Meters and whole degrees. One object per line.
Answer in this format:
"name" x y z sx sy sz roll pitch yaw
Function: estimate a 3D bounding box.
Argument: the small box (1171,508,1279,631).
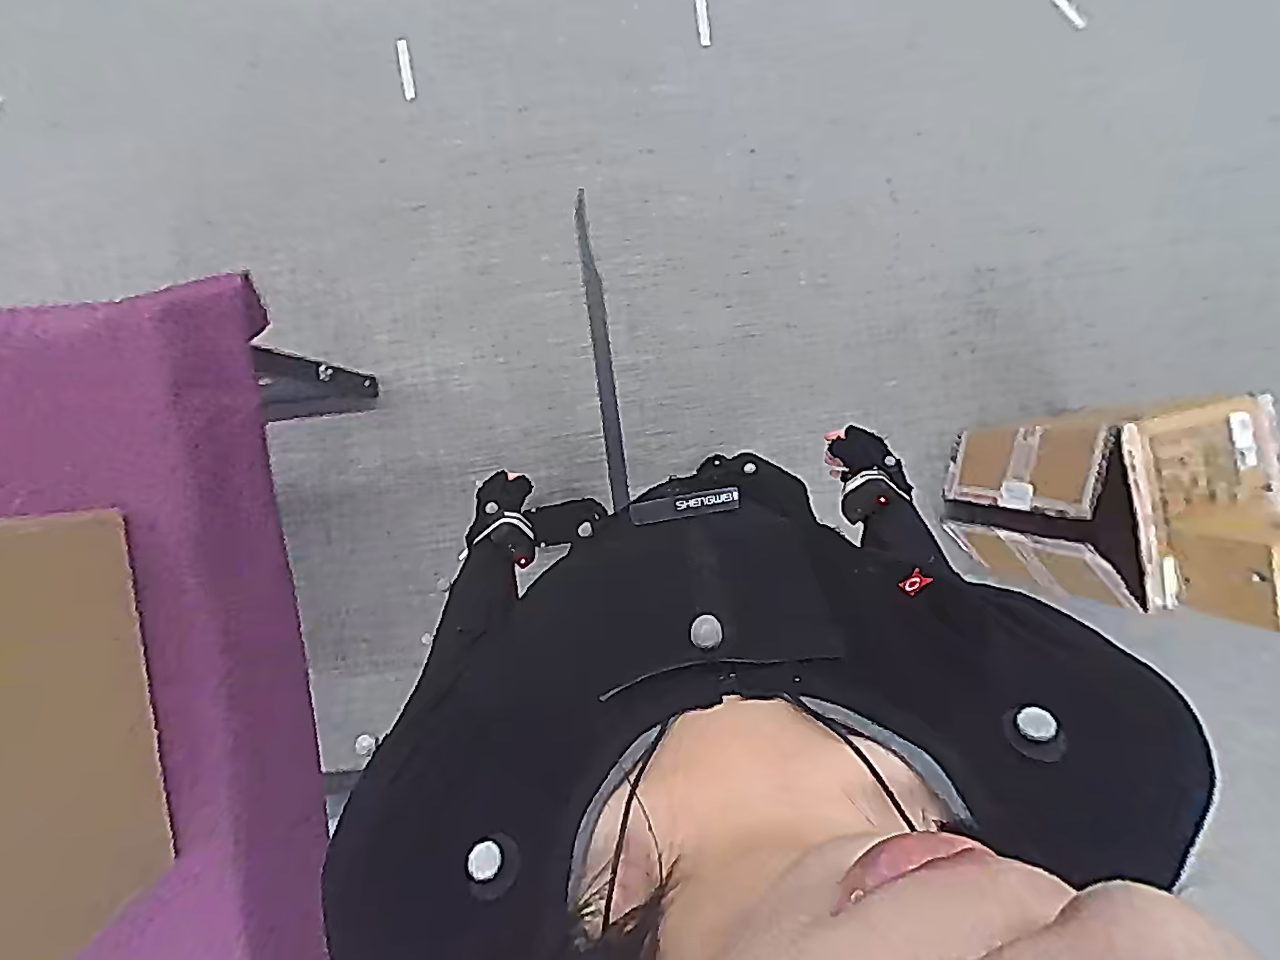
"small box" 1.152 0.155 1.000 0.179 0.176 0.168 -13 95 -3
